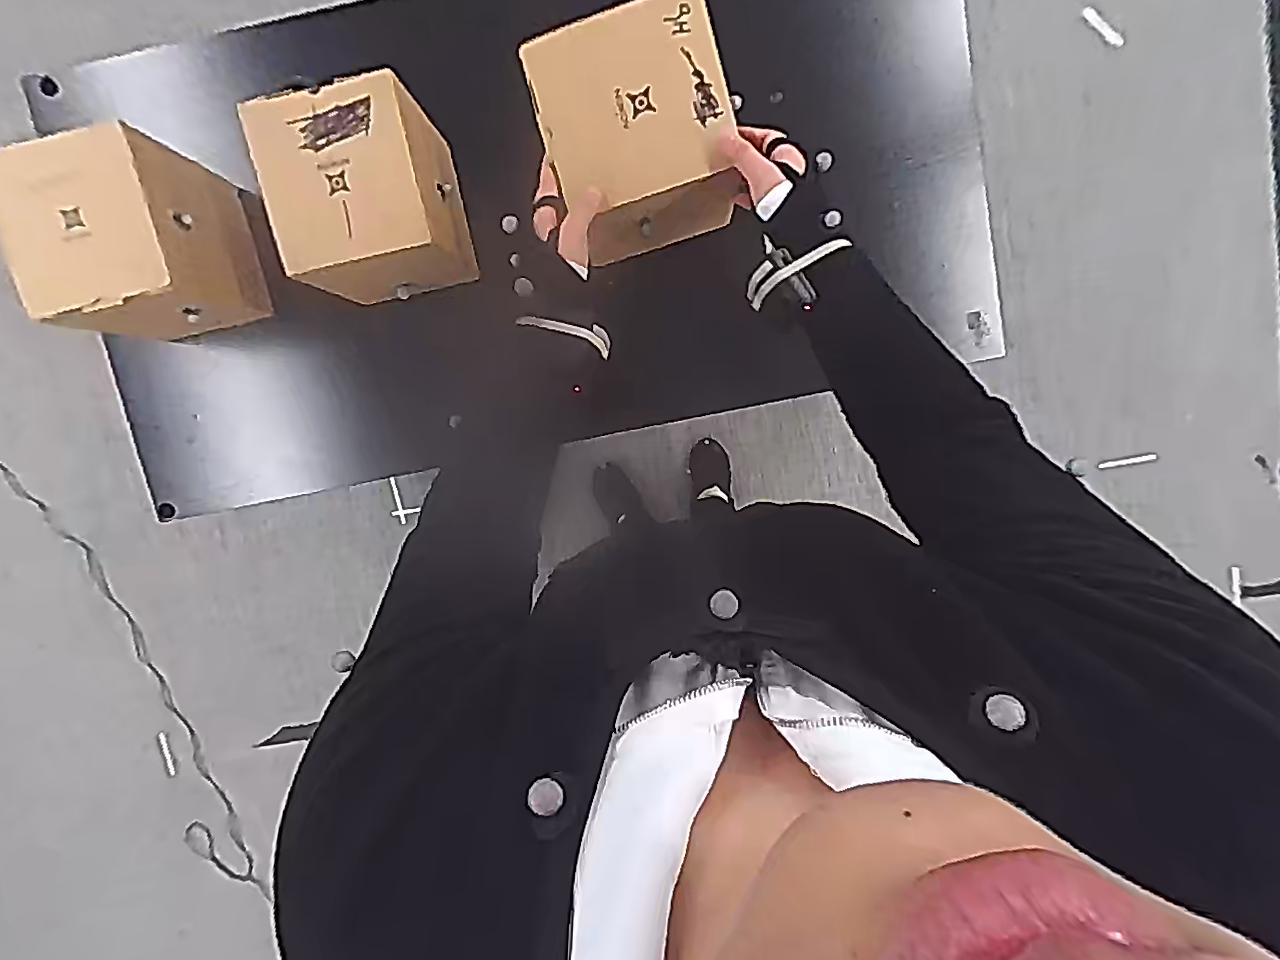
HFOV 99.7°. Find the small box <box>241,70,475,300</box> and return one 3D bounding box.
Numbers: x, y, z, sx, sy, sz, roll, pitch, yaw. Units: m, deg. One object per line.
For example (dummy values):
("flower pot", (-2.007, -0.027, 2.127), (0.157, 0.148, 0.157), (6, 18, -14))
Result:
("small box", (-0.316, -0.332, 0.645), (0.168, 0.176, 0.179), (-12, 98, 2))

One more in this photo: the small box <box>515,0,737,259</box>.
("small box", (-0.007, -0.357, 0.576), (0.179, 0.176, 0.168), (-15, 96, 5))

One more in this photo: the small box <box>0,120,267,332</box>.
("small box", (-0.599, -0.286, 0.655), (0.168, 0.176, 0.179), (-13, 96, 1))
